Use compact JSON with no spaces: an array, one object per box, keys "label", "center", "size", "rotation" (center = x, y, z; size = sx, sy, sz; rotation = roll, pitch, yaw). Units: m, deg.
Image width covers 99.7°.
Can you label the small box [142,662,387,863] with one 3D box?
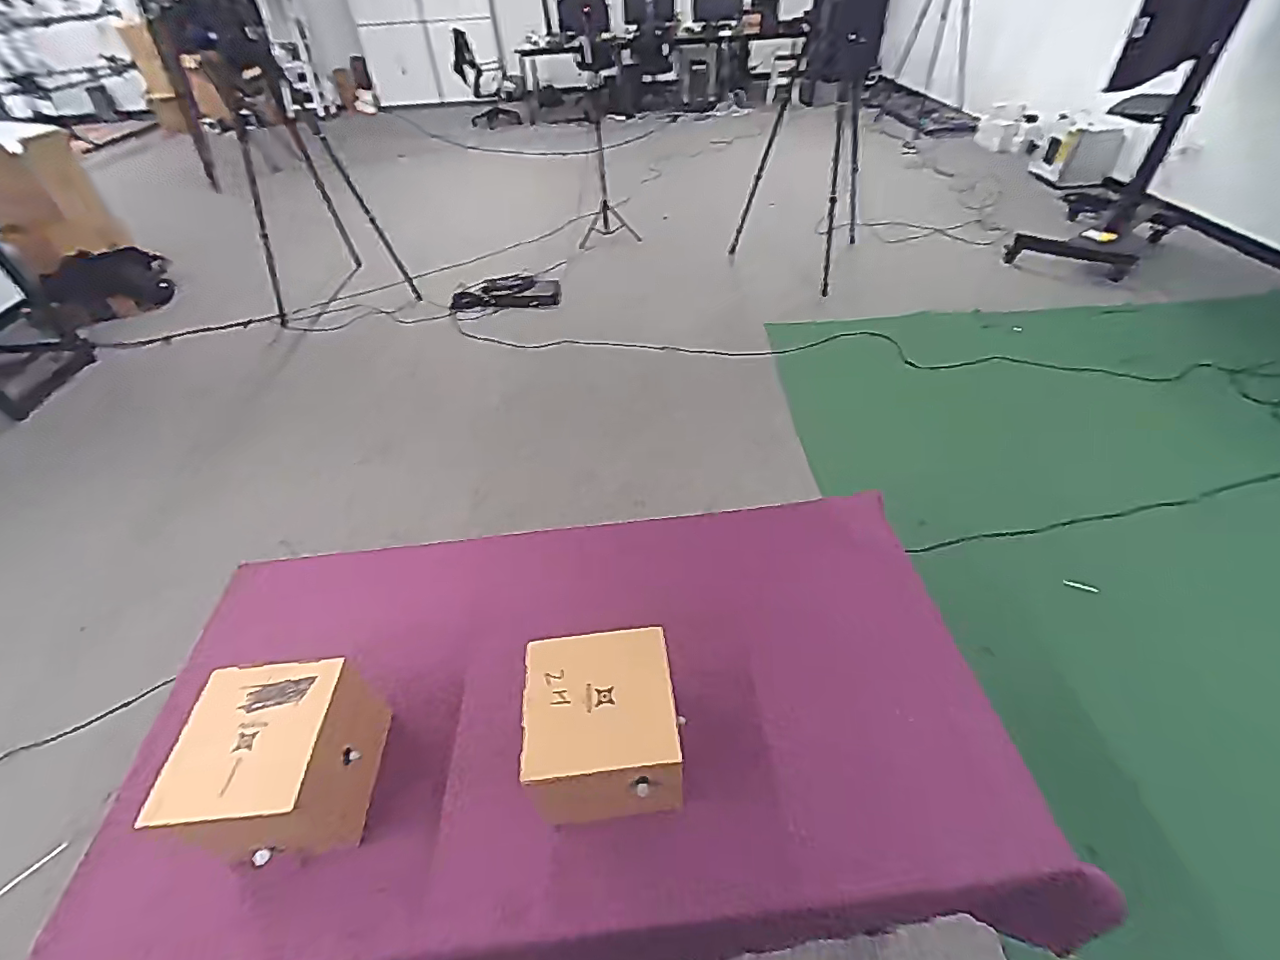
[{"label":"small box","center":[-0.443,0.355,0.680],"size":[0.168,0.176,0.179],"rotation":[-5,45,-1]}]

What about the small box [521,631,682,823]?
[{"label":"small box","center":[-0.045,0.315,0.690],"size":[0.179,0.176,0.168],"rotation":[-6,44,-2]}]
